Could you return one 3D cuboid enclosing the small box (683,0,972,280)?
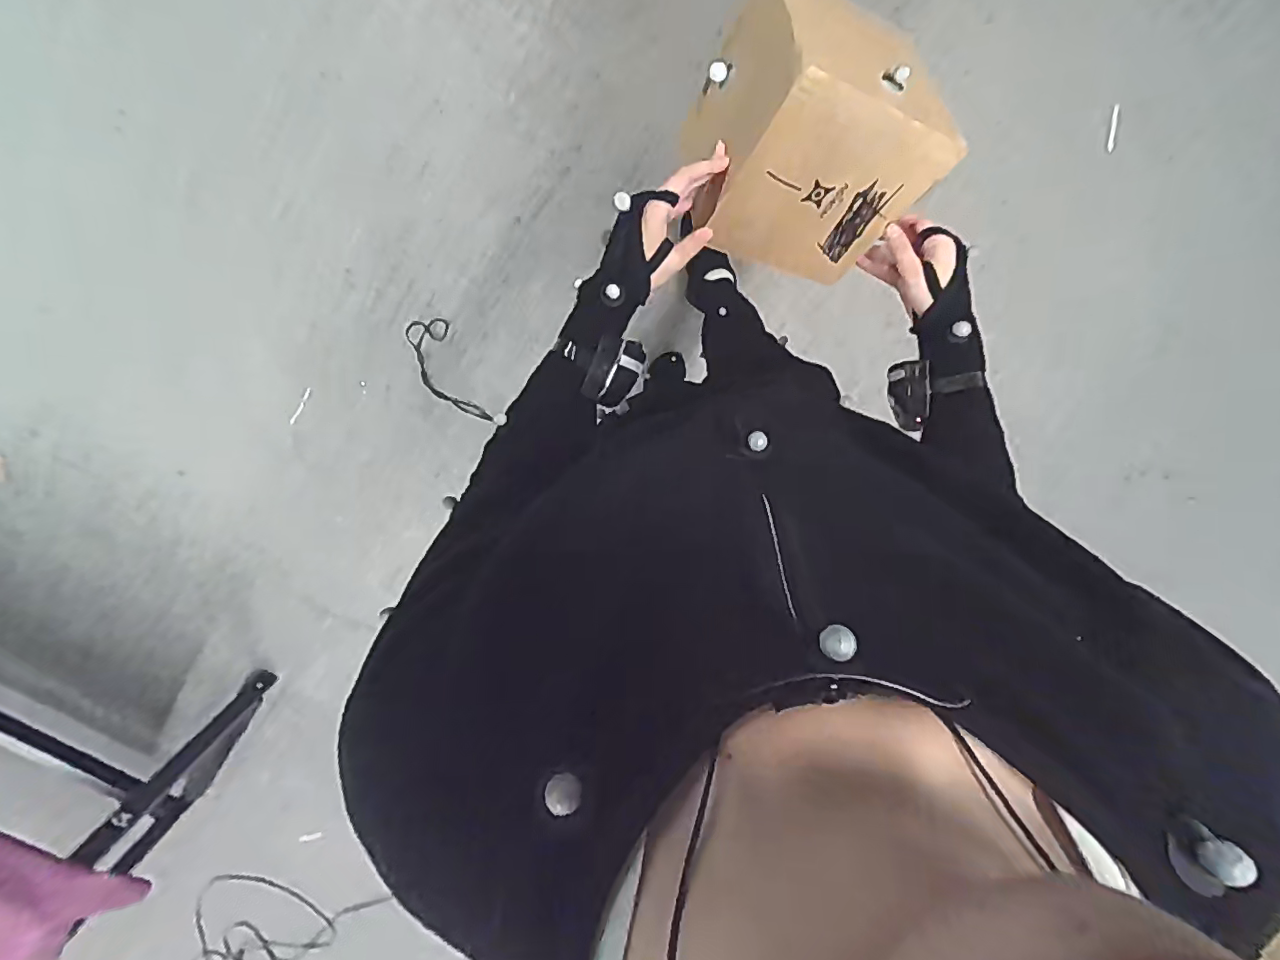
[{"bbox_3d":[0.157,-0.325,0.504,0.179,0.176,0.168,7,152,-22],"label":"small box"}]
